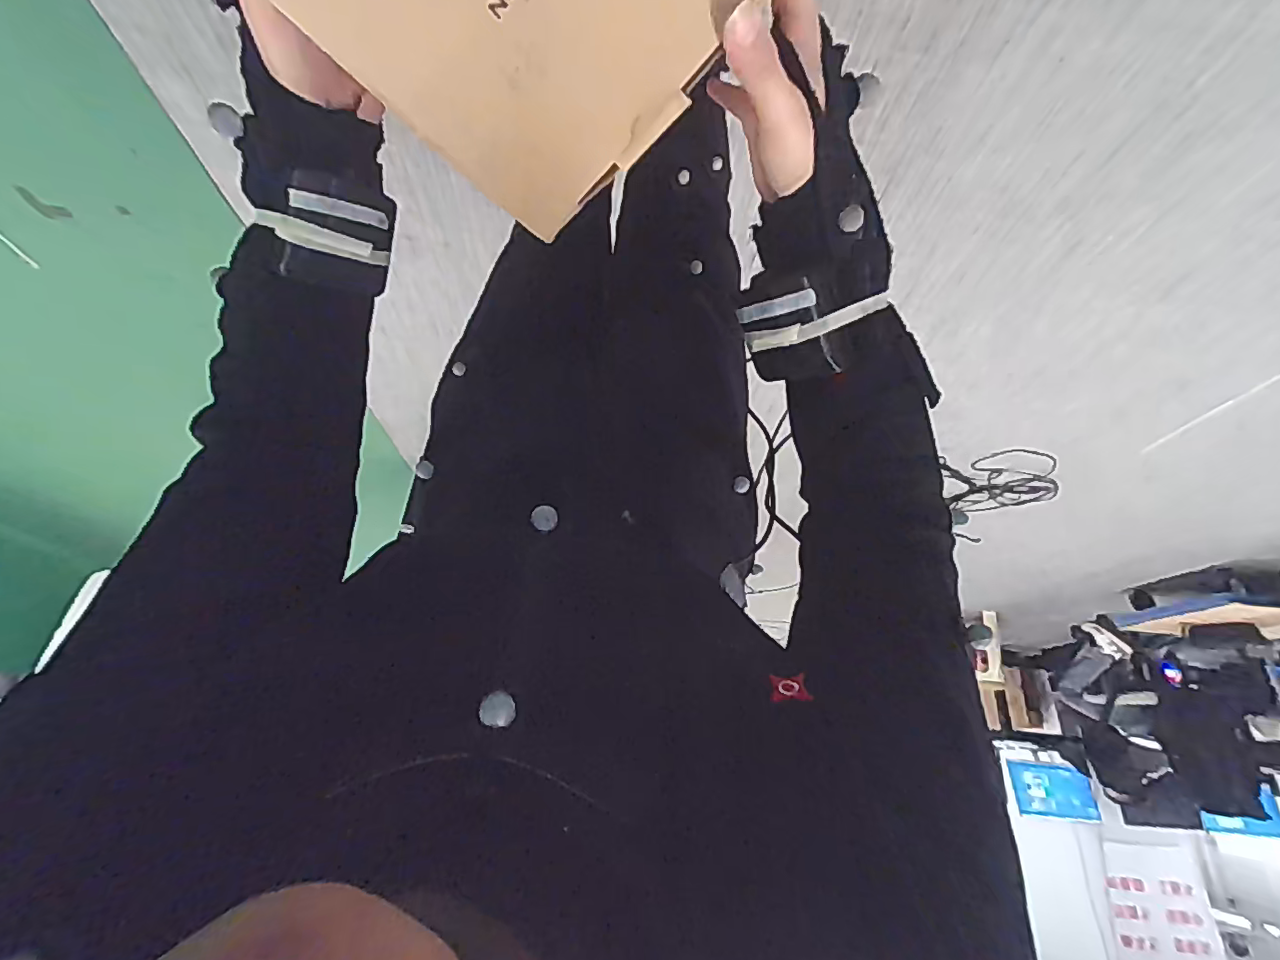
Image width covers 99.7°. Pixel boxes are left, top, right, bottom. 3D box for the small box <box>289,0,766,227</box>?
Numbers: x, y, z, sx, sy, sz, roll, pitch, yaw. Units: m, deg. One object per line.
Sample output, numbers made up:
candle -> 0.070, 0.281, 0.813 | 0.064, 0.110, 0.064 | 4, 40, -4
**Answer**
small box -> -0.051, -0.277, 0.265 | 0.168, 0.176, 0.179 | -31, 130, 34
